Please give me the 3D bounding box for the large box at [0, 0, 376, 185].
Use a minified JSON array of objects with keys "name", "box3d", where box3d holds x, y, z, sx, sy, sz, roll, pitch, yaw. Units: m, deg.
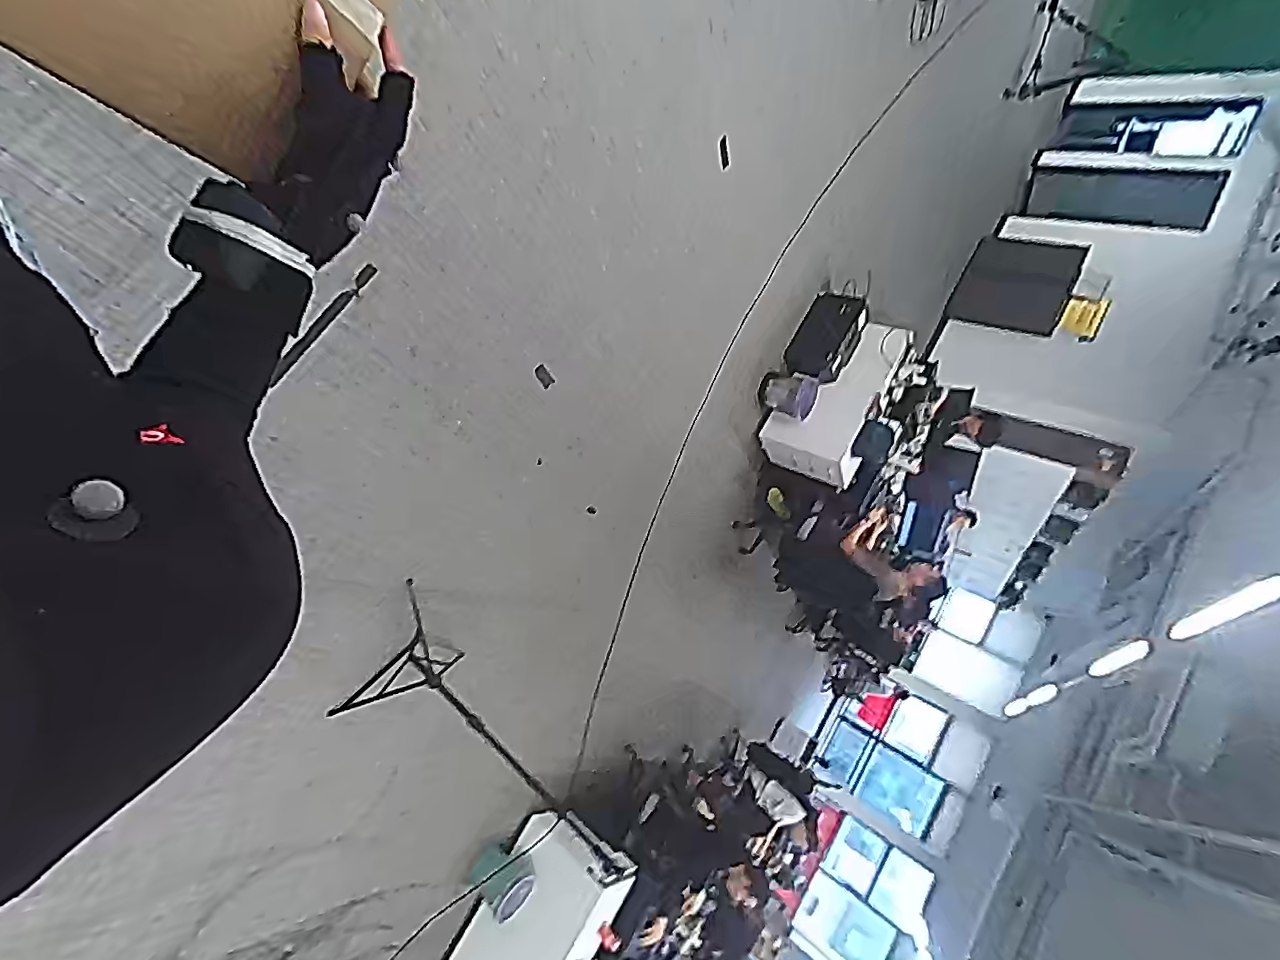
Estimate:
[{"name":"large box","box3d":[-0.418,-0.480,0.333,0.320,0.320,0.408,-55,152,10]}]
